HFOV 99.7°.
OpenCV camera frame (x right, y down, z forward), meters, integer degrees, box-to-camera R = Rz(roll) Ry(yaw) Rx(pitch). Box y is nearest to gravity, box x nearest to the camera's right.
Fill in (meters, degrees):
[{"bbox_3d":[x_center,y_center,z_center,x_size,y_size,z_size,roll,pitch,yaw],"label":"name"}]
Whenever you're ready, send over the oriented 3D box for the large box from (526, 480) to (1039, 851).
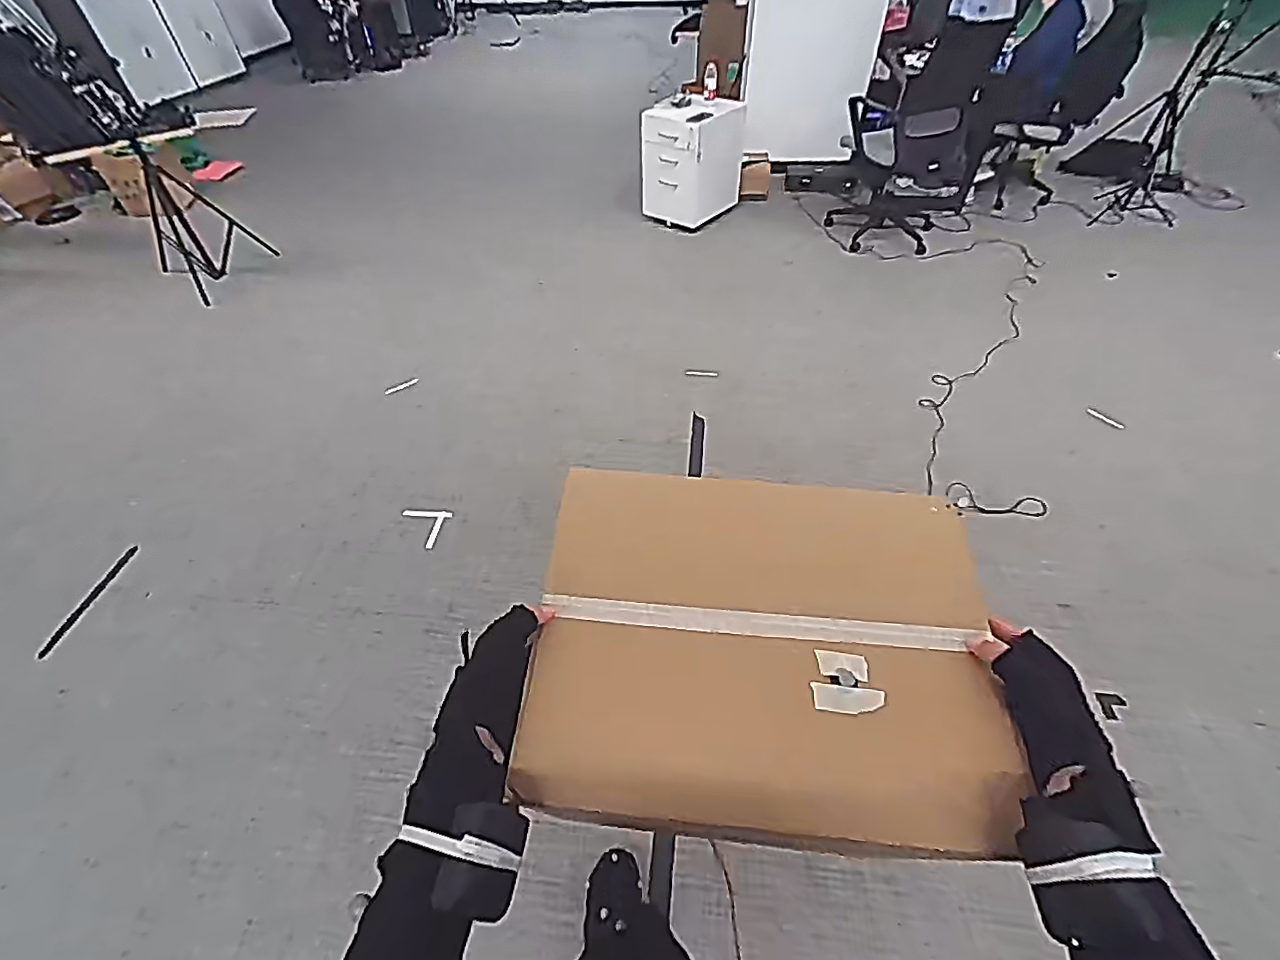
[{"bbox_3d":[0.115,0.222,0.620,0.408,0.320,0.320,5,56,3],"label":"large box"}]
